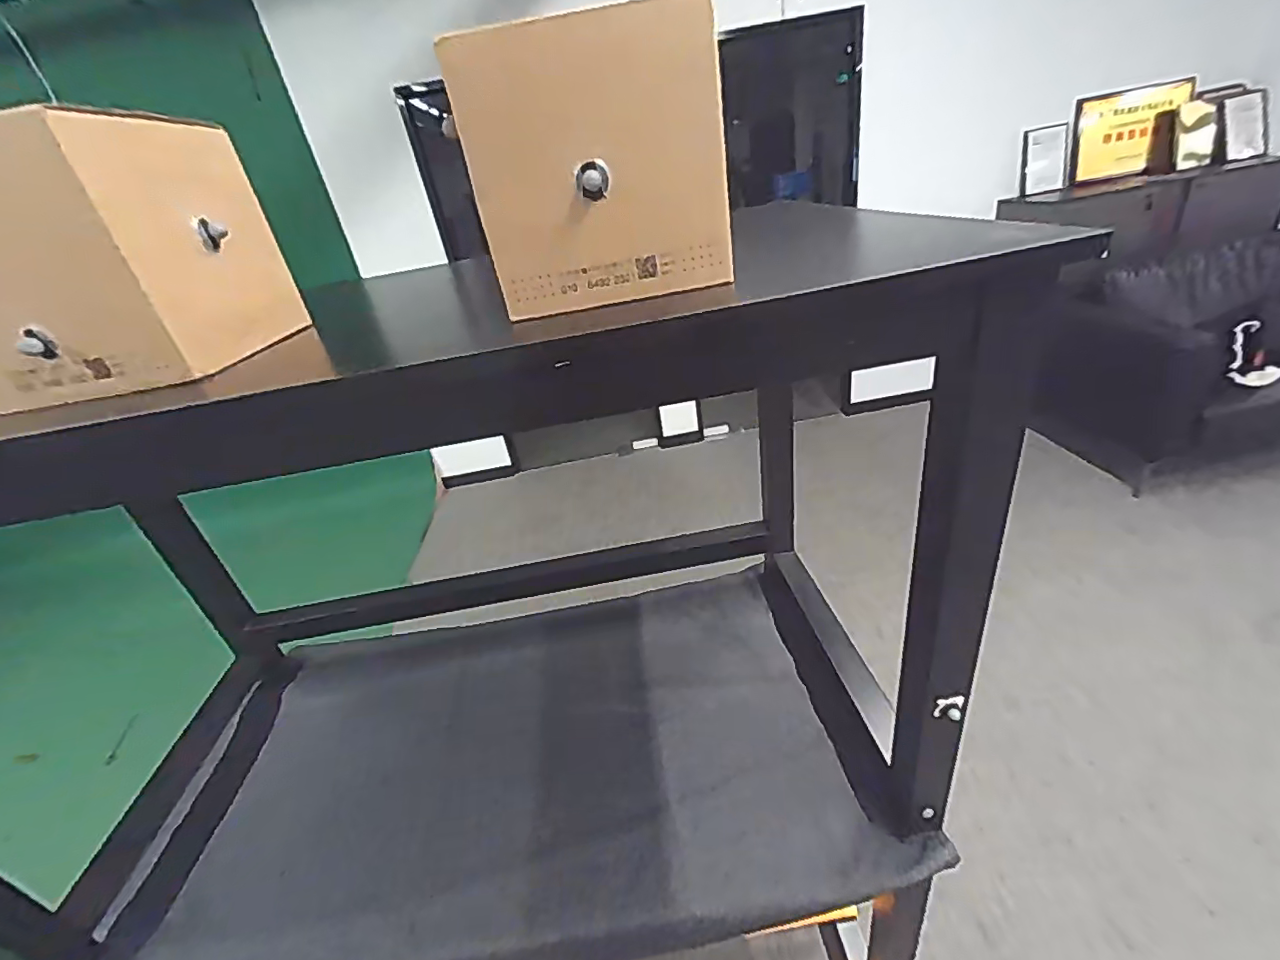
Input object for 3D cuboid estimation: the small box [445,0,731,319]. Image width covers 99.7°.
[{"bbox_3d":[-0.028,-0.233,0.425,0.168,0.176,0.179,-9,29,1],"label":"small box"}]
